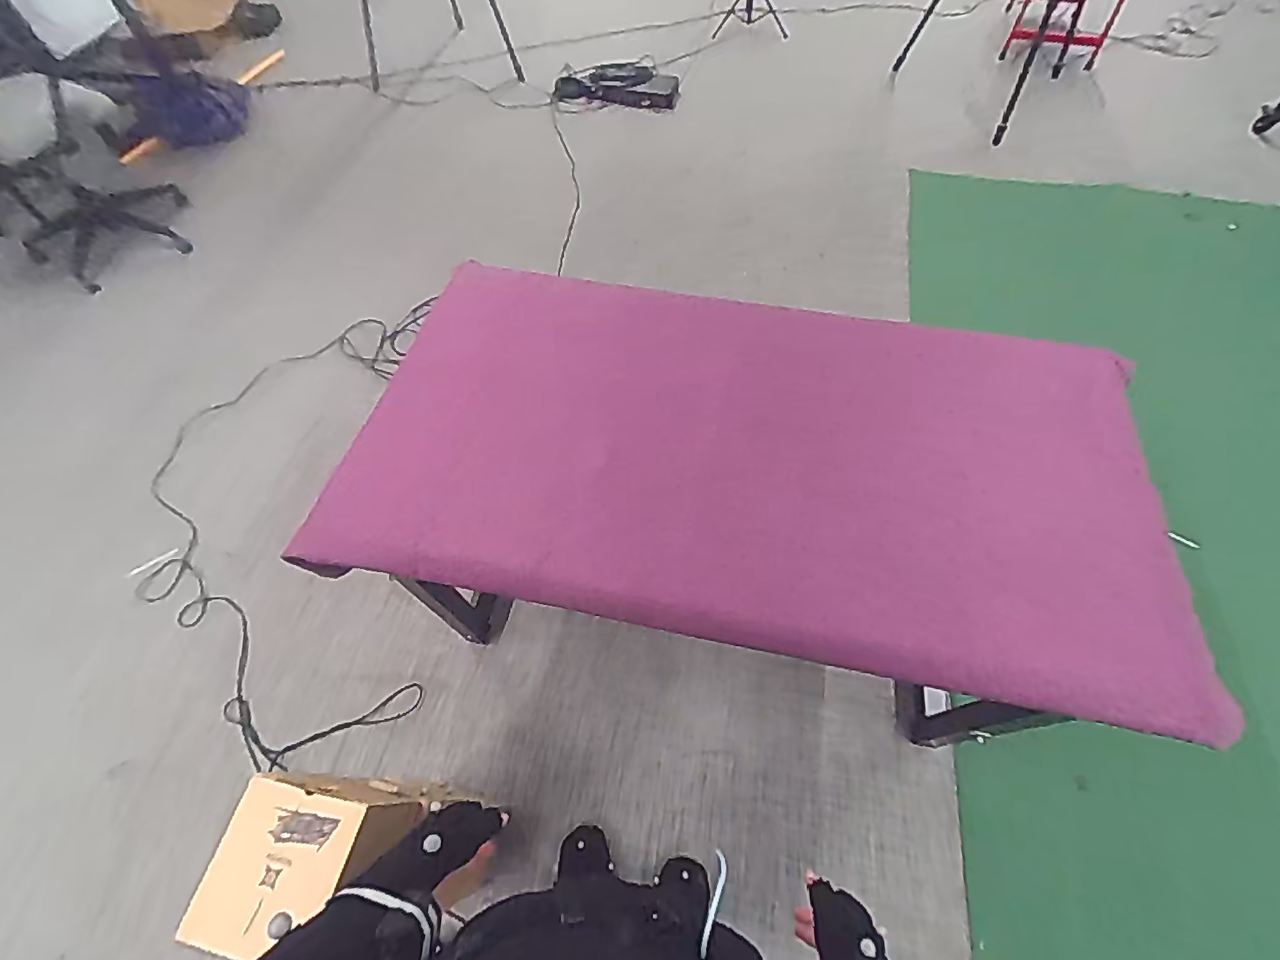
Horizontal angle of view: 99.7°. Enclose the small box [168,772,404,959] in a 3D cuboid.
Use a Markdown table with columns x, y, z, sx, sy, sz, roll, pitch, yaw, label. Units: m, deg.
| x | y | z | sx | sy | sz | roll | pitch | yaw | label |
| --- | --- | --- | --- | --- | --- | --- | --- | --- | --- |
| -0.444 | 0.506 | 0.720 | 0.168 | 0.176 | 0.179 | 12 | 63 | 8 | small box |
